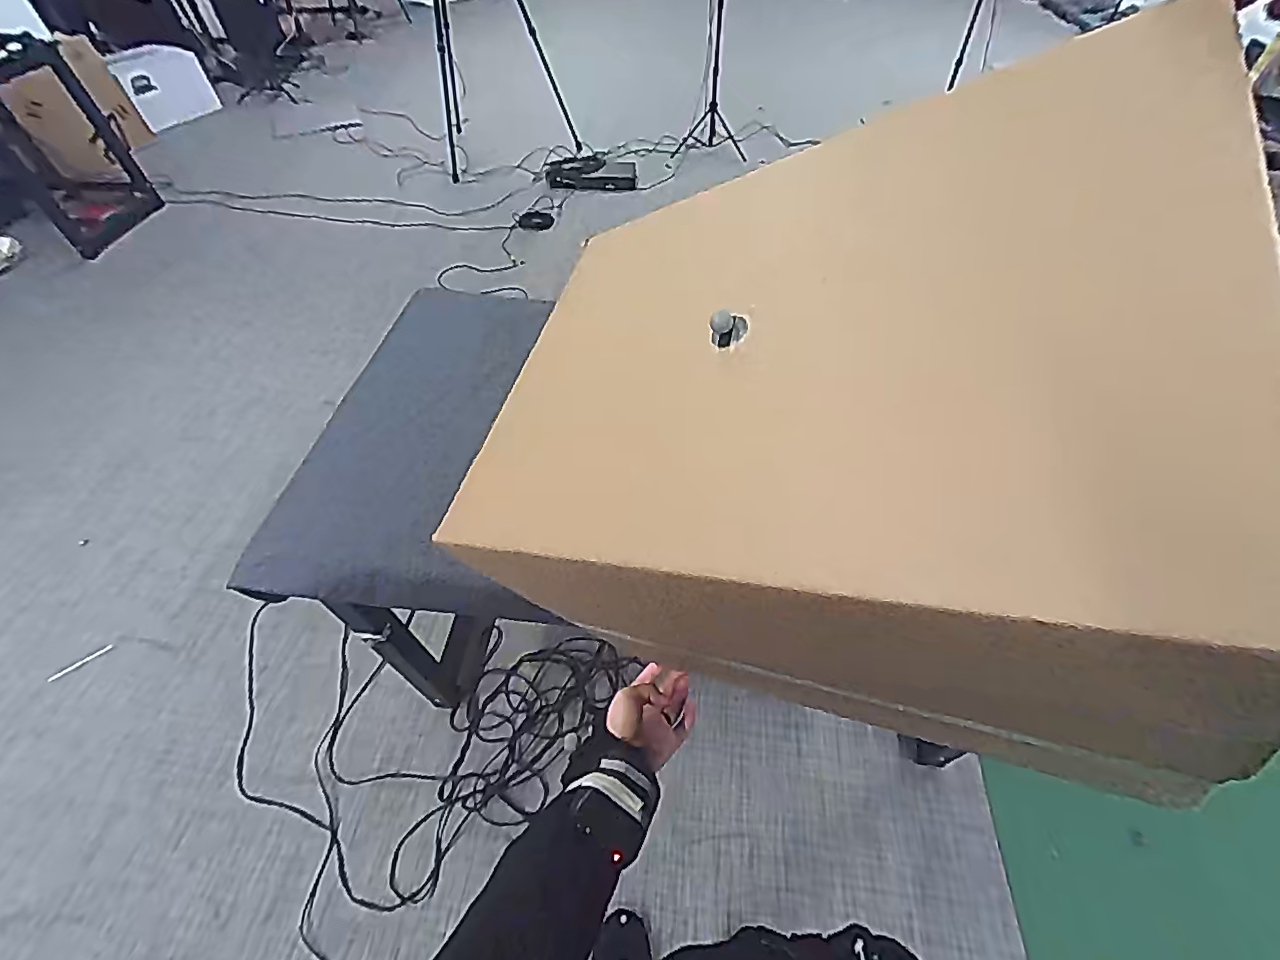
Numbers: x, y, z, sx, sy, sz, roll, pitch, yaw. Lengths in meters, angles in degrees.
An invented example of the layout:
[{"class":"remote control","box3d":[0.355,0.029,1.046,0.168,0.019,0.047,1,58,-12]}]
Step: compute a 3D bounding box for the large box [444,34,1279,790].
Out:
[{"class":"large box","box3d":[0.139,-0.004,0.413,0.408,0.320,0.320,-2,58,38]}]
